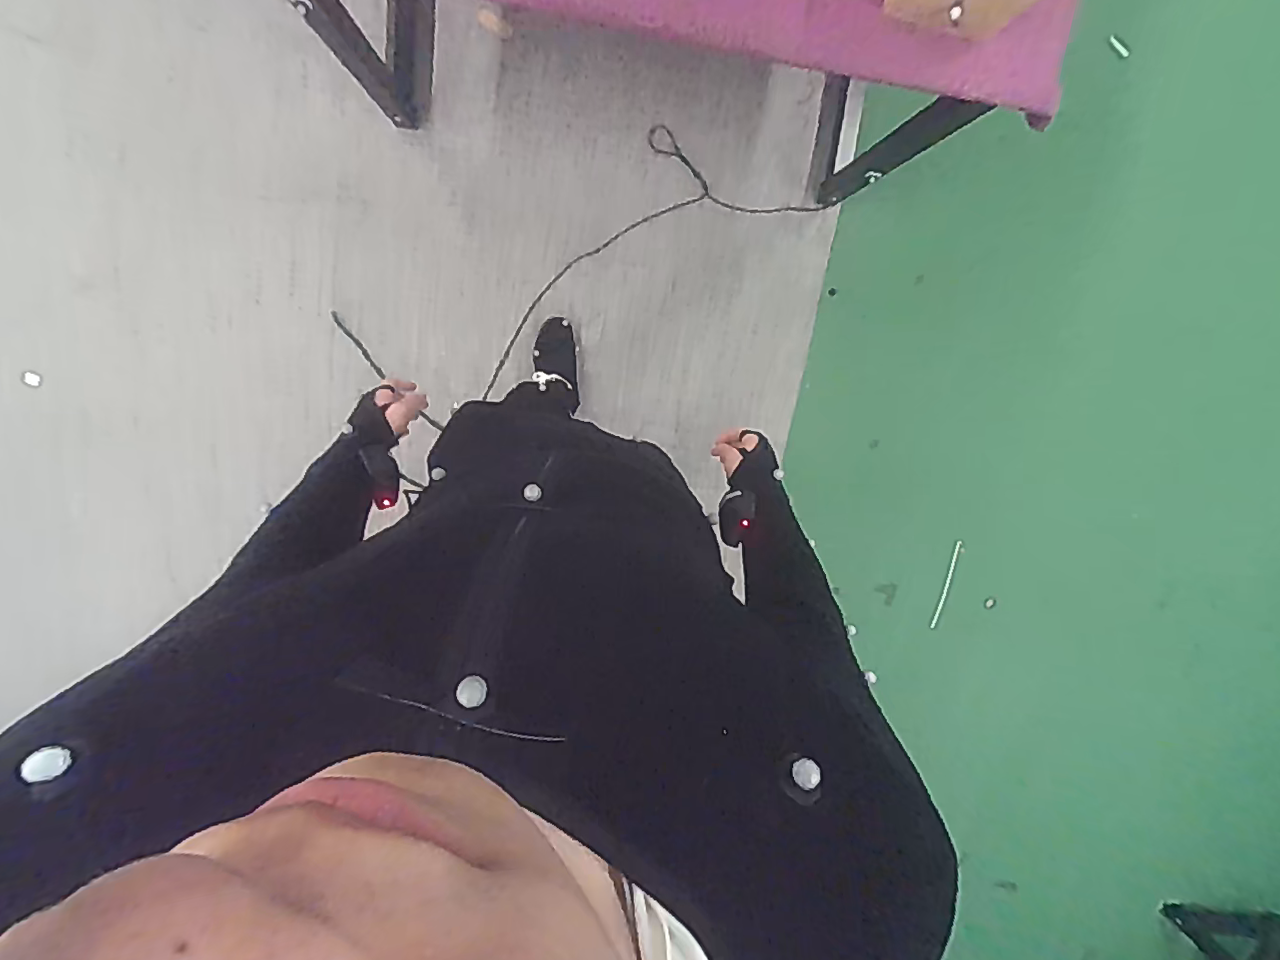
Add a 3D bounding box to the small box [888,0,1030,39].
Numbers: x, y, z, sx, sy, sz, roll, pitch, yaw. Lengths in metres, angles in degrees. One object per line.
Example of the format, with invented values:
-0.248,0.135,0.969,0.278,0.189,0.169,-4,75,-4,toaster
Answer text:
0.439,-0.710,0.672,0.168,0.176,0.179,9,102,-6,small box
